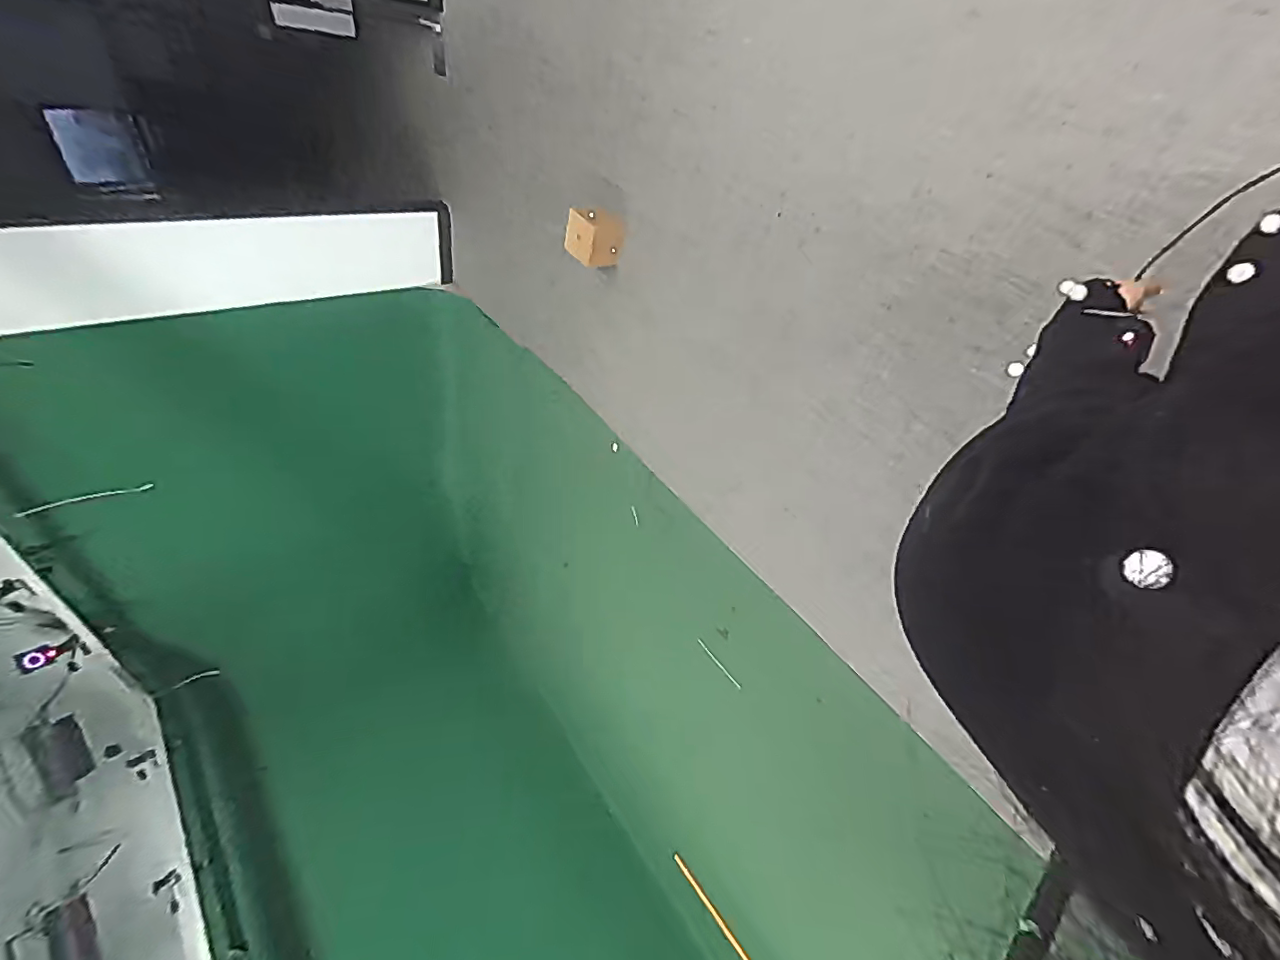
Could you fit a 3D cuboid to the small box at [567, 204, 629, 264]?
[{"bbox_3d":[-0.173,-1.003,2.199,0.179,0.176,0.168,47,142,25],"label":"small box"}]
